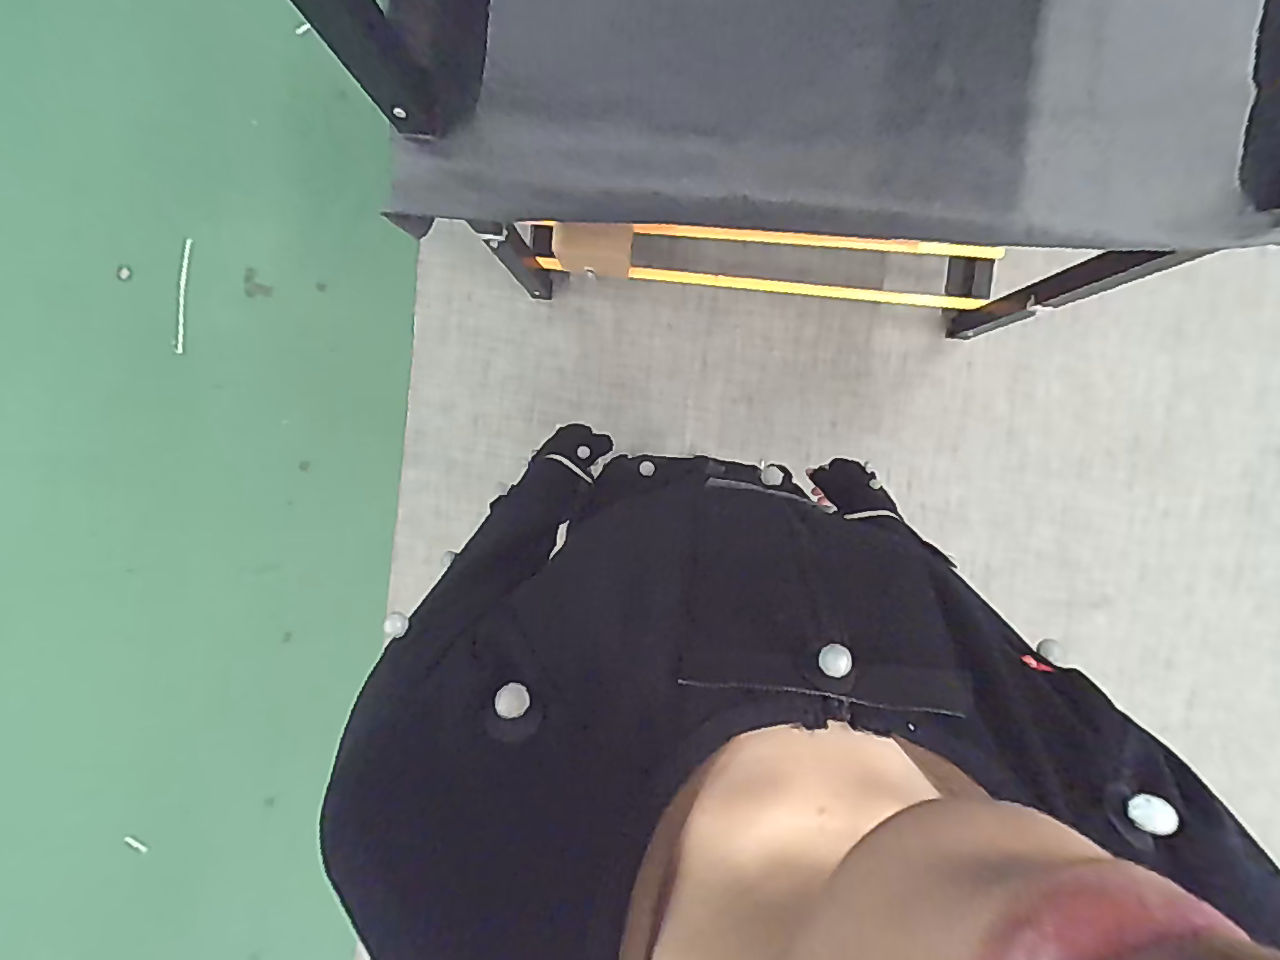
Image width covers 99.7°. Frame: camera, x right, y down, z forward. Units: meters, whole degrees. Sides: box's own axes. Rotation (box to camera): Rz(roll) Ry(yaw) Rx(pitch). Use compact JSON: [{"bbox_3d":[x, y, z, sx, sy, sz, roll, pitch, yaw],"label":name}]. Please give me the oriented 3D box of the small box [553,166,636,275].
[{"bbox_3d":[-0.101,-0.599,1.265,0.168,0.176,0.179,6,95,2],"label":"small box"}]
